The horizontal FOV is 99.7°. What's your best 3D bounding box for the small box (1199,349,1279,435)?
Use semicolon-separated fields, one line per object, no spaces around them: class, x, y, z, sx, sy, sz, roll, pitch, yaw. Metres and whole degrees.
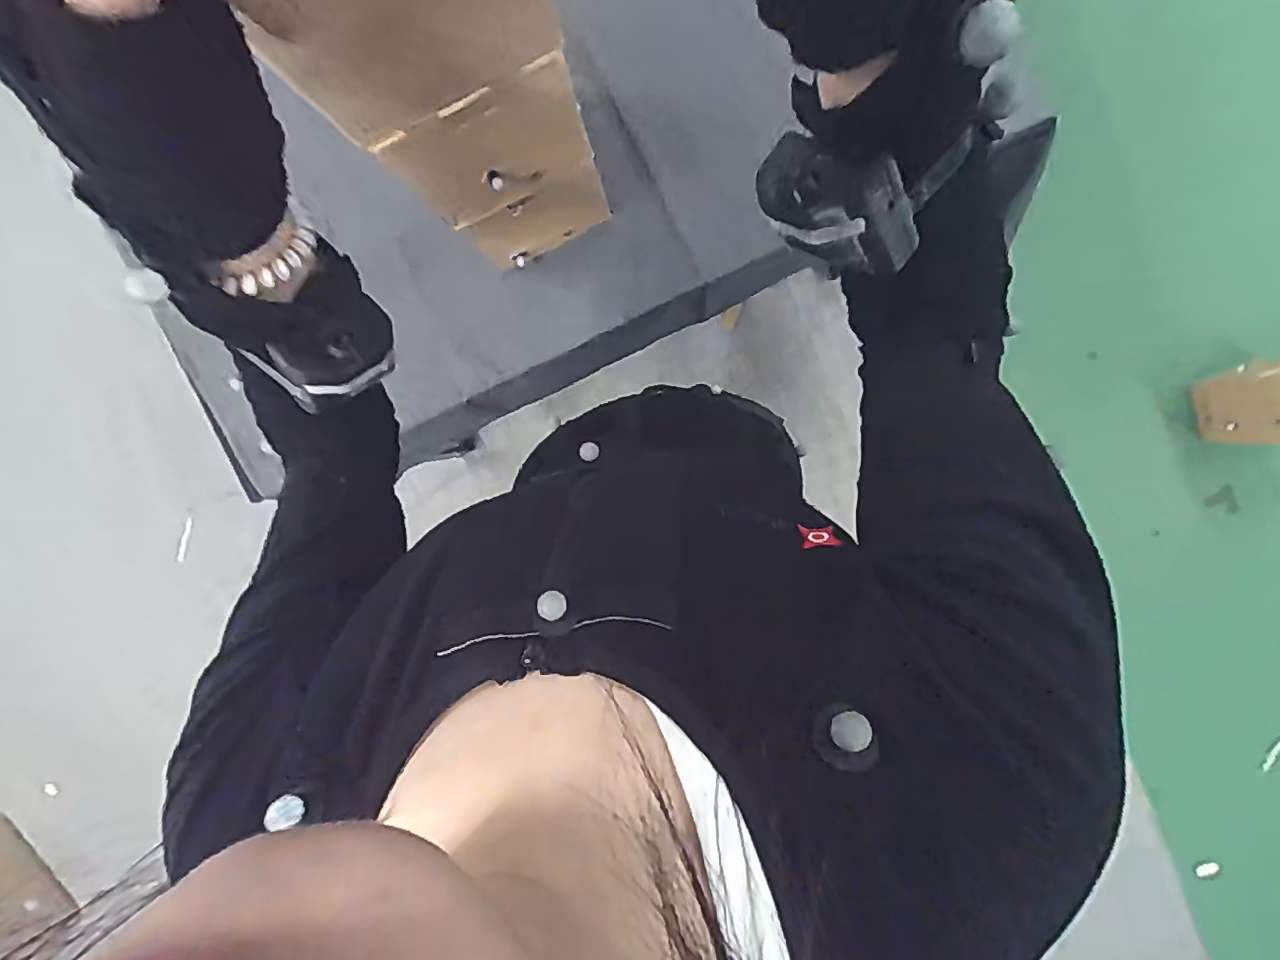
small box;1.497;-0.211;1.285;0.179;0.176;0.168;-20;94;6

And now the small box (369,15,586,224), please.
small box;-0.166;-0.374;0.492;0.168;0.176;0.179;-25;94;6

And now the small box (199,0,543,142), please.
small box;-0.173;-0.356;0.328;0.179;0.176;0.168;-24;93;6

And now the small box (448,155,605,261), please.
small box;-0.156;-0.389;0.653;0.168;0.176;0.179;-25;92;6
